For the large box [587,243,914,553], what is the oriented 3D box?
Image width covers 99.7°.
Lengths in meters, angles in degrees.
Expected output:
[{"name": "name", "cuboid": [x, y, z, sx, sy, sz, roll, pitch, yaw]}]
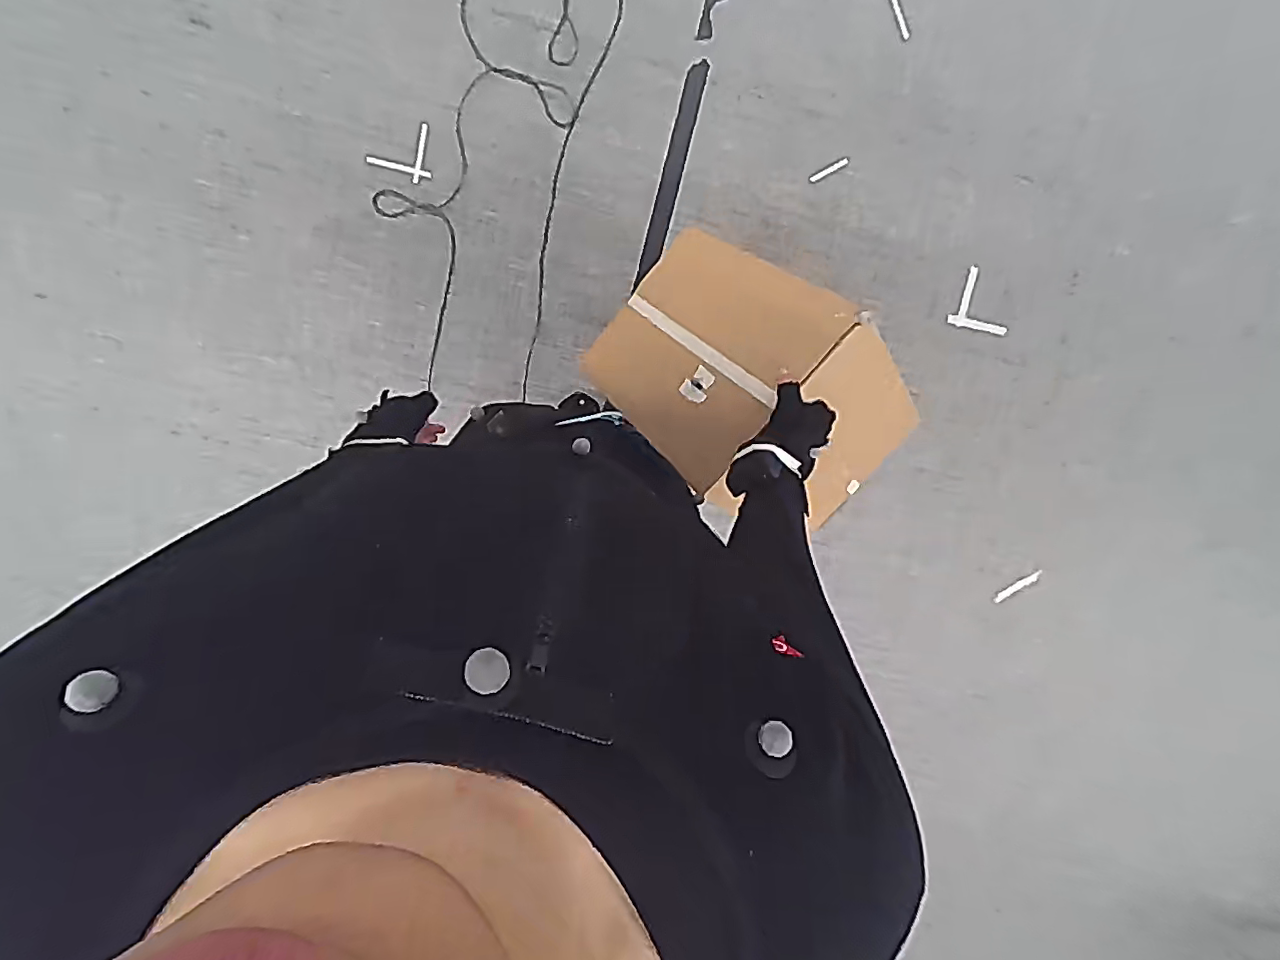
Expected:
[{"name": "large box", "cuboid": [0.182, -0.143, 0.946, 0.320, 0.408, 0.320, -49, 137, 9]}]
